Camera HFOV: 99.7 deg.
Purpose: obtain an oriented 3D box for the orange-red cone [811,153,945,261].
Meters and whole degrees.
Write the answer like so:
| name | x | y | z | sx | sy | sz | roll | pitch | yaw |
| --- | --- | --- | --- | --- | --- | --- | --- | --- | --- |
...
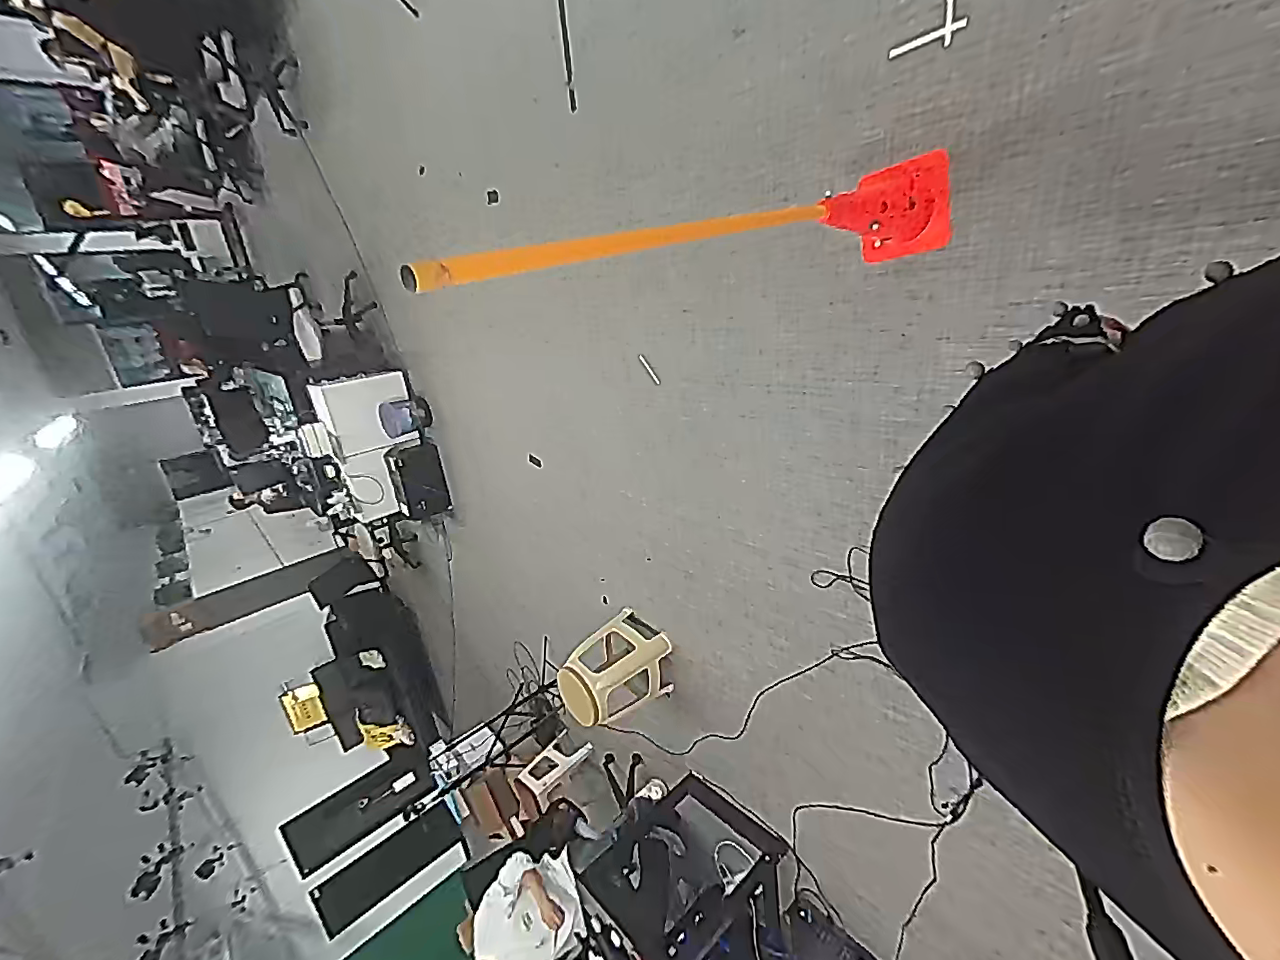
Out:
| name | x | y | z | sx | sy | sz | roll | pitch | yaw |
| --- | --- | --- | --- | --- | --- | --- | --- | --- | --- |
| orange-red cone | 0.470 | -0.565 | 1.134 | 0.199 | 0.360 | 0.198 | 7 | 114 | 48 |
